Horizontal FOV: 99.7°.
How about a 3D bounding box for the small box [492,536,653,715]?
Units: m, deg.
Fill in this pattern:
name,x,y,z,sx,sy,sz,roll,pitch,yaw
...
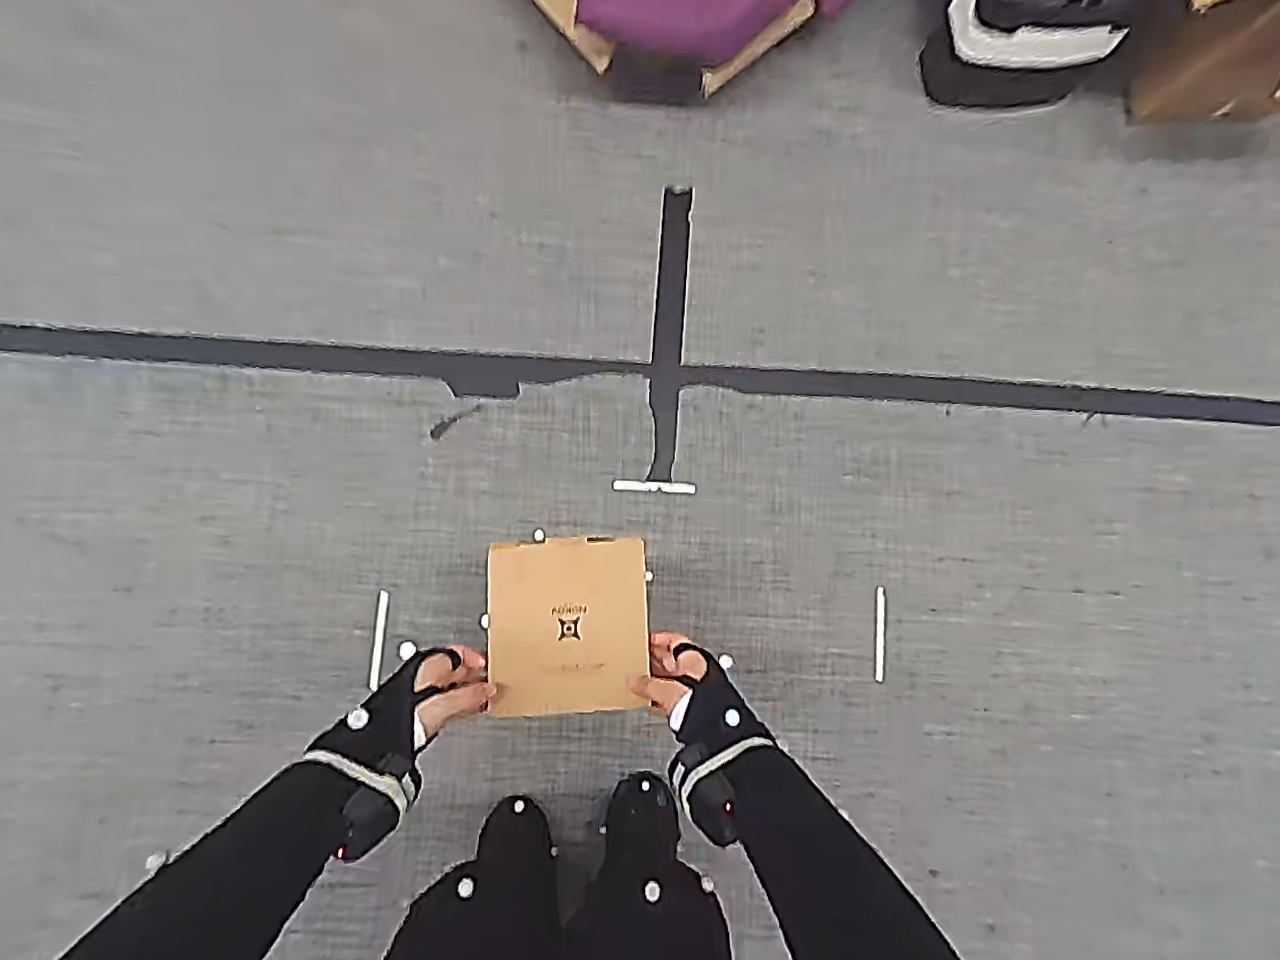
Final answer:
name,x,y,z,sx,sy,sz,roll,pitch,yaw
small box,-0.078,0.162,0.642,0.168,0.176,0.179,-2,82,-4
